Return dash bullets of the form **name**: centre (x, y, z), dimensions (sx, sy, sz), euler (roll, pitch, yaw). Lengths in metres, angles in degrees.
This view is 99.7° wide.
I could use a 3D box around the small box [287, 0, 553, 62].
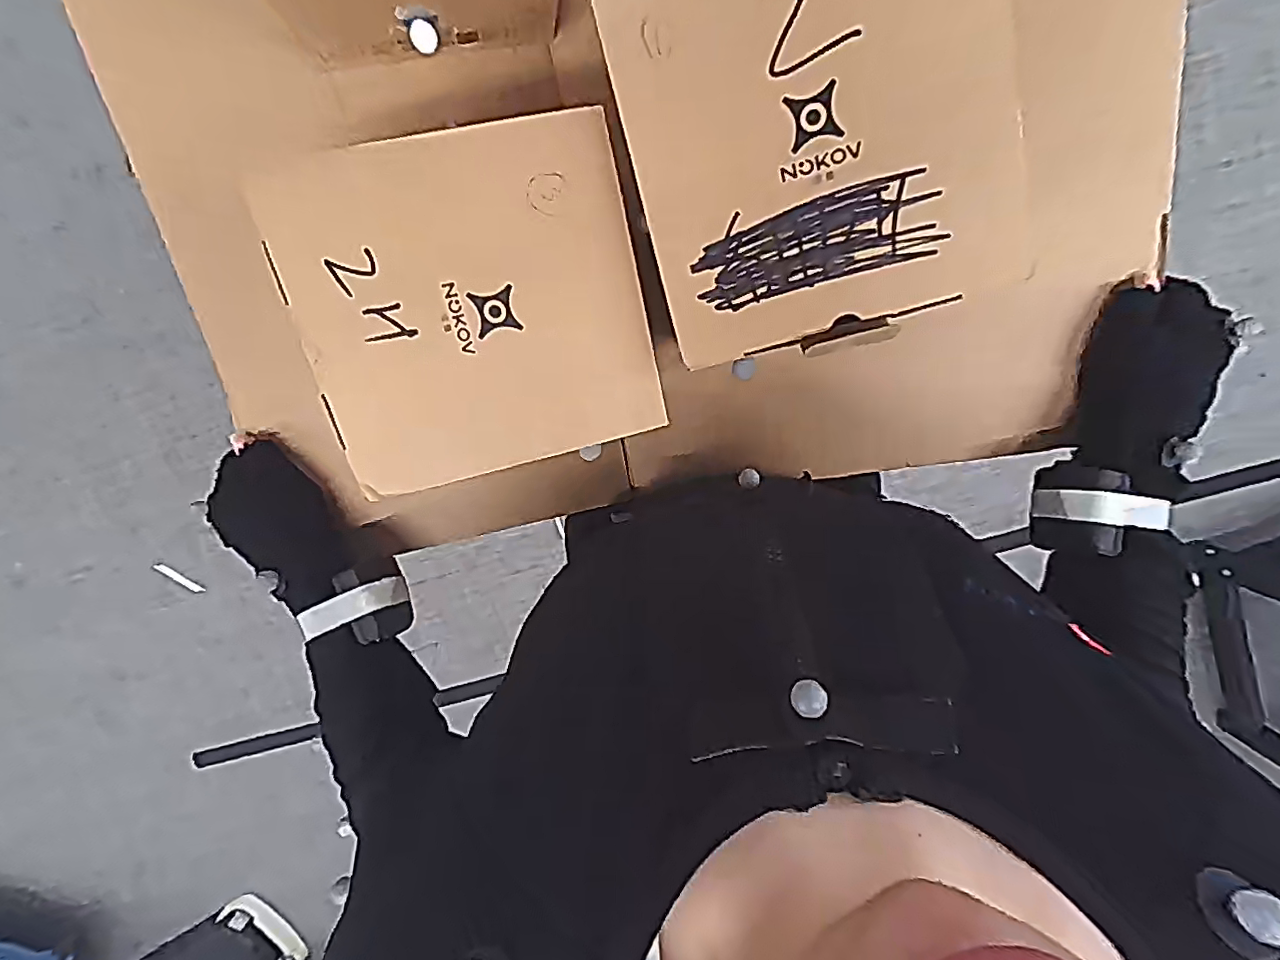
- **small box**: centre (-0.141, -0.365, 0.281), dimensions (0.168, 0.176, 0.179), euler (-14, 108, -8)
